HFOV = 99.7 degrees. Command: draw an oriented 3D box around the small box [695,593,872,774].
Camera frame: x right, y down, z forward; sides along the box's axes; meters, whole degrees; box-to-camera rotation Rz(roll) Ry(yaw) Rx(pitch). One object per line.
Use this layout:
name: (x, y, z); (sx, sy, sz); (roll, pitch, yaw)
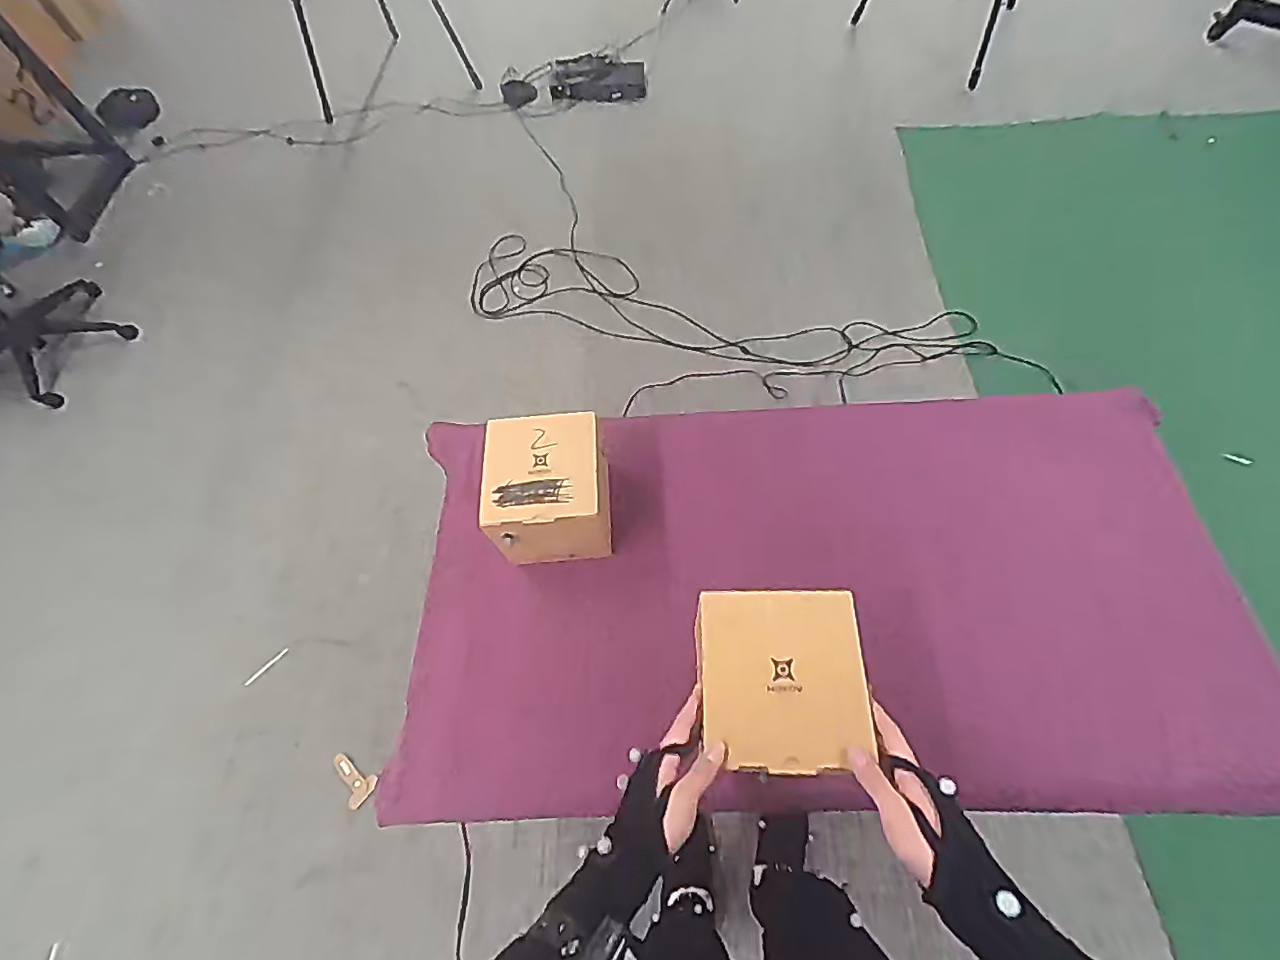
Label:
small box: (0.148, 0.239, 0.628); (0.168, 0.176, 0.179); (-2, 63, 5)
